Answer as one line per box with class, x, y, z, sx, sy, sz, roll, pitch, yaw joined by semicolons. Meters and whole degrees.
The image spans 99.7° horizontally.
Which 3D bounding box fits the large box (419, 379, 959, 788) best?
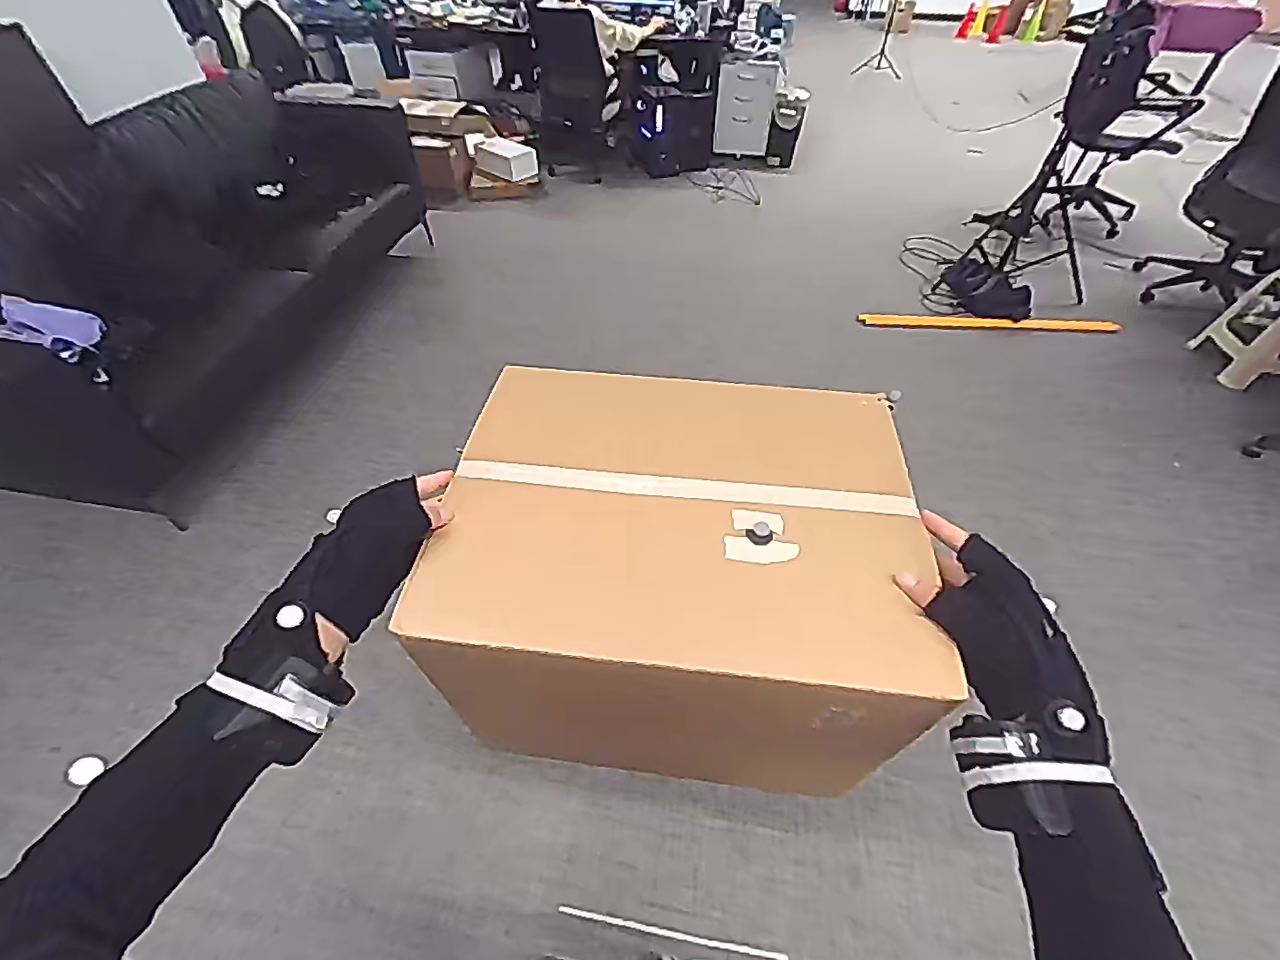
large box;0.041;0.116;0.599;0.408;0.320;0.320;6;50;4
